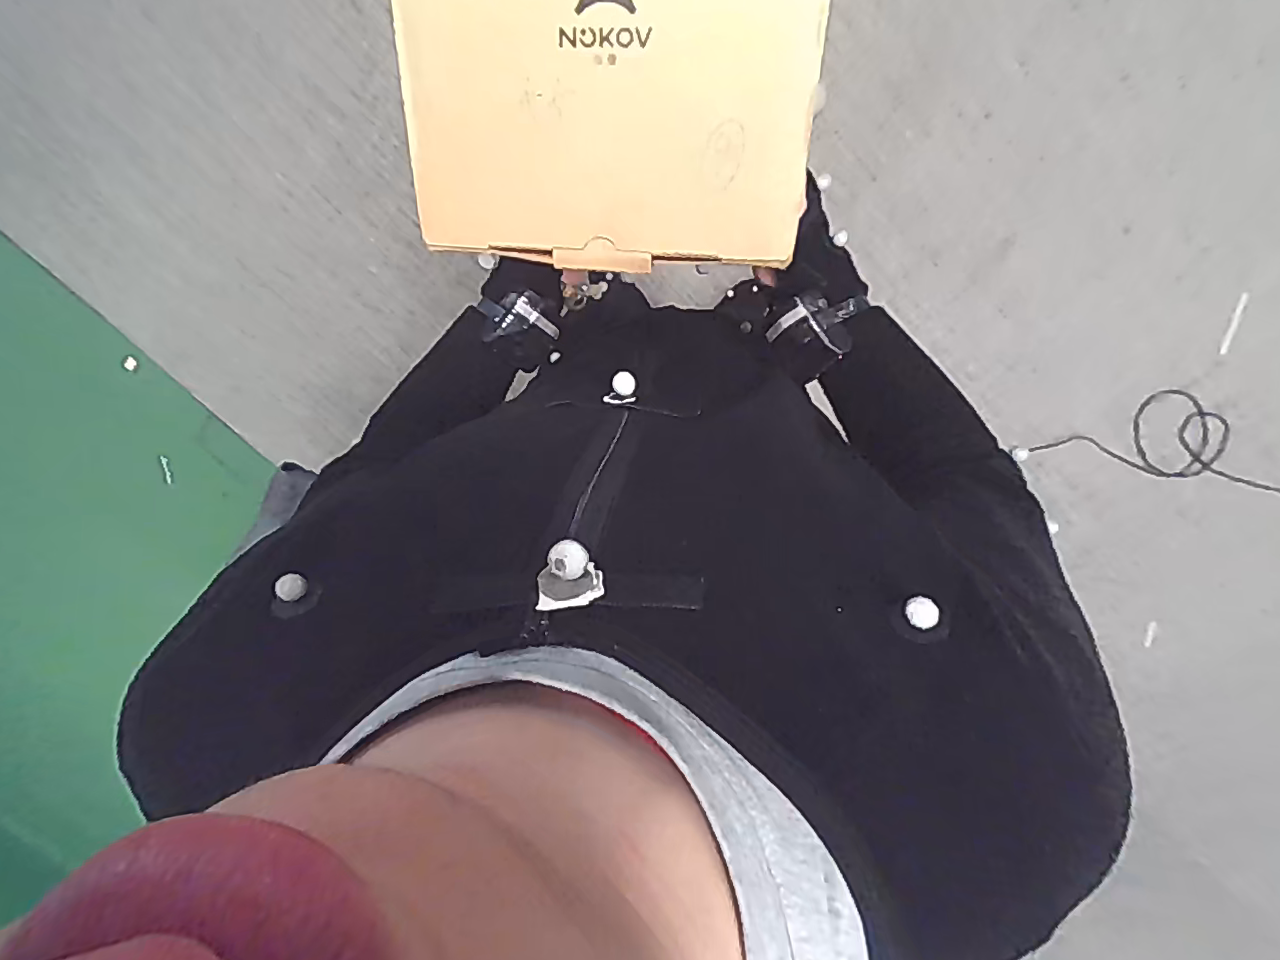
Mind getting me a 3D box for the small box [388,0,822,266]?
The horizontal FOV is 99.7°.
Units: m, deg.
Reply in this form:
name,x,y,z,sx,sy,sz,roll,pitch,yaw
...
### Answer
name,x,y,z,sx,sy,sz,roll,pitch,yaw
small box,-0.004,-0.211,0.269,0.168,0.176,0.179,5,117,6
